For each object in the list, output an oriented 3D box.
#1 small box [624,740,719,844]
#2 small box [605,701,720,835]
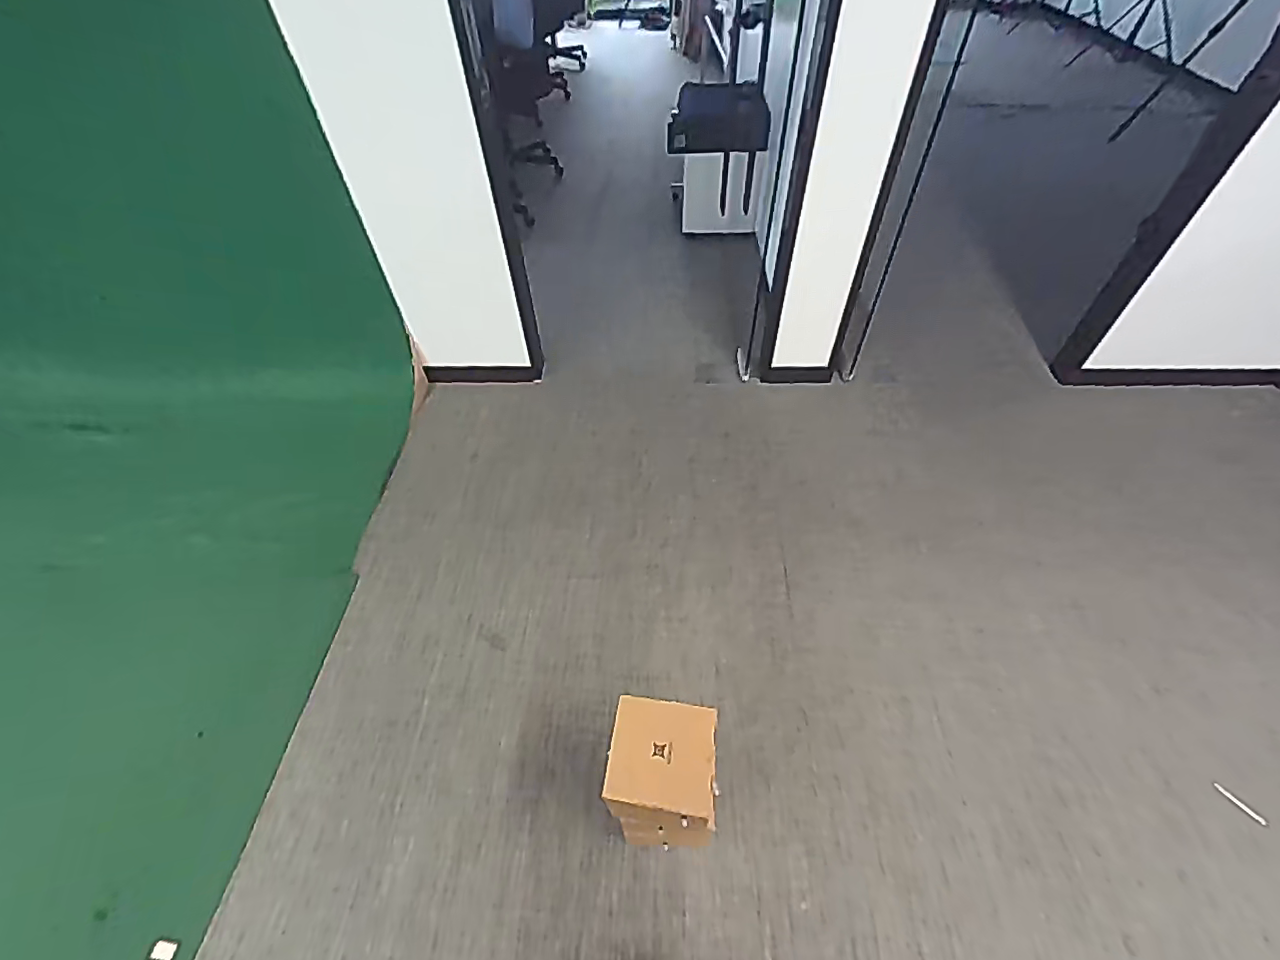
[{"bbox_3d":[0.066,0.621,1.088,0.179,0.176,0.168,3,51,6],"label":"small box"},{"bbox_3d":[0.046,0.516,0.965,0.179,0.176,0.168,6,50,7],"label":"small box"}]
